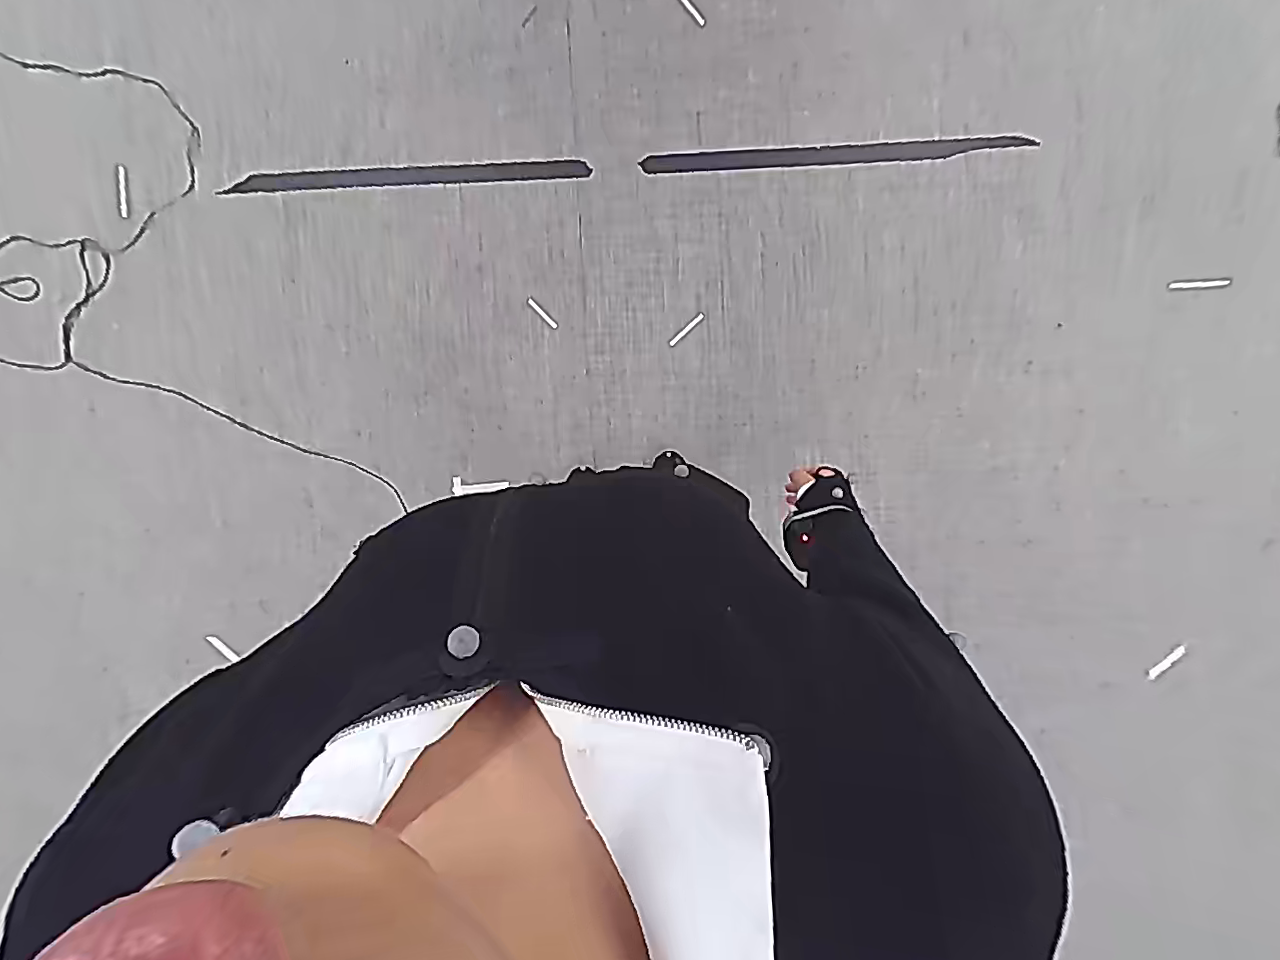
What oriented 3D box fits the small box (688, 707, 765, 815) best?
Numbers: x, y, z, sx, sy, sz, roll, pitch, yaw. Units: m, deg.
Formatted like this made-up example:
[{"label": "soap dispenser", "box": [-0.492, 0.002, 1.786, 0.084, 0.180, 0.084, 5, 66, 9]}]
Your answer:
[{"label": "small box", "box": [0.207, 0.682, 1.324, 0.168, 0.176, 0.179, -4, 92, 2]}]
